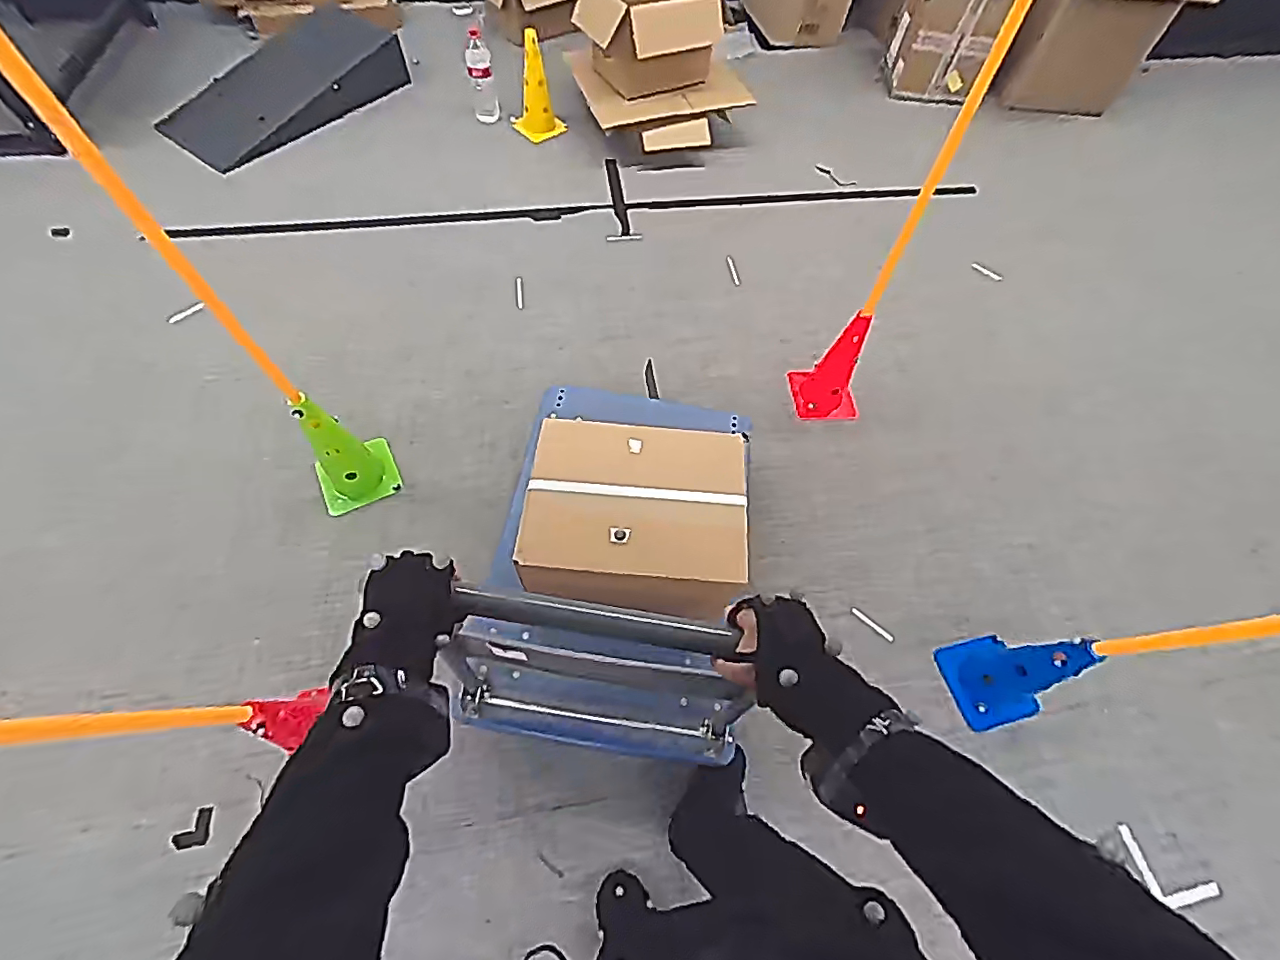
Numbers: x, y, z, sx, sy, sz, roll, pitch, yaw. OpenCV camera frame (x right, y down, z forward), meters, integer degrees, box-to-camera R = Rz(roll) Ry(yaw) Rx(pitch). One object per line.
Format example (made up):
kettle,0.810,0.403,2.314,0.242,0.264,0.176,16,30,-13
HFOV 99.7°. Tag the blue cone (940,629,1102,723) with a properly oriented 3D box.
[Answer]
blue cone,0.873,0.410,1.203,0.193,0.380,0.192,-10,61,-9

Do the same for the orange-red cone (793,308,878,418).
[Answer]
orange-red cone,0.613,-0.366,1.605,0.199,0.360,0.198,0,61,-5
